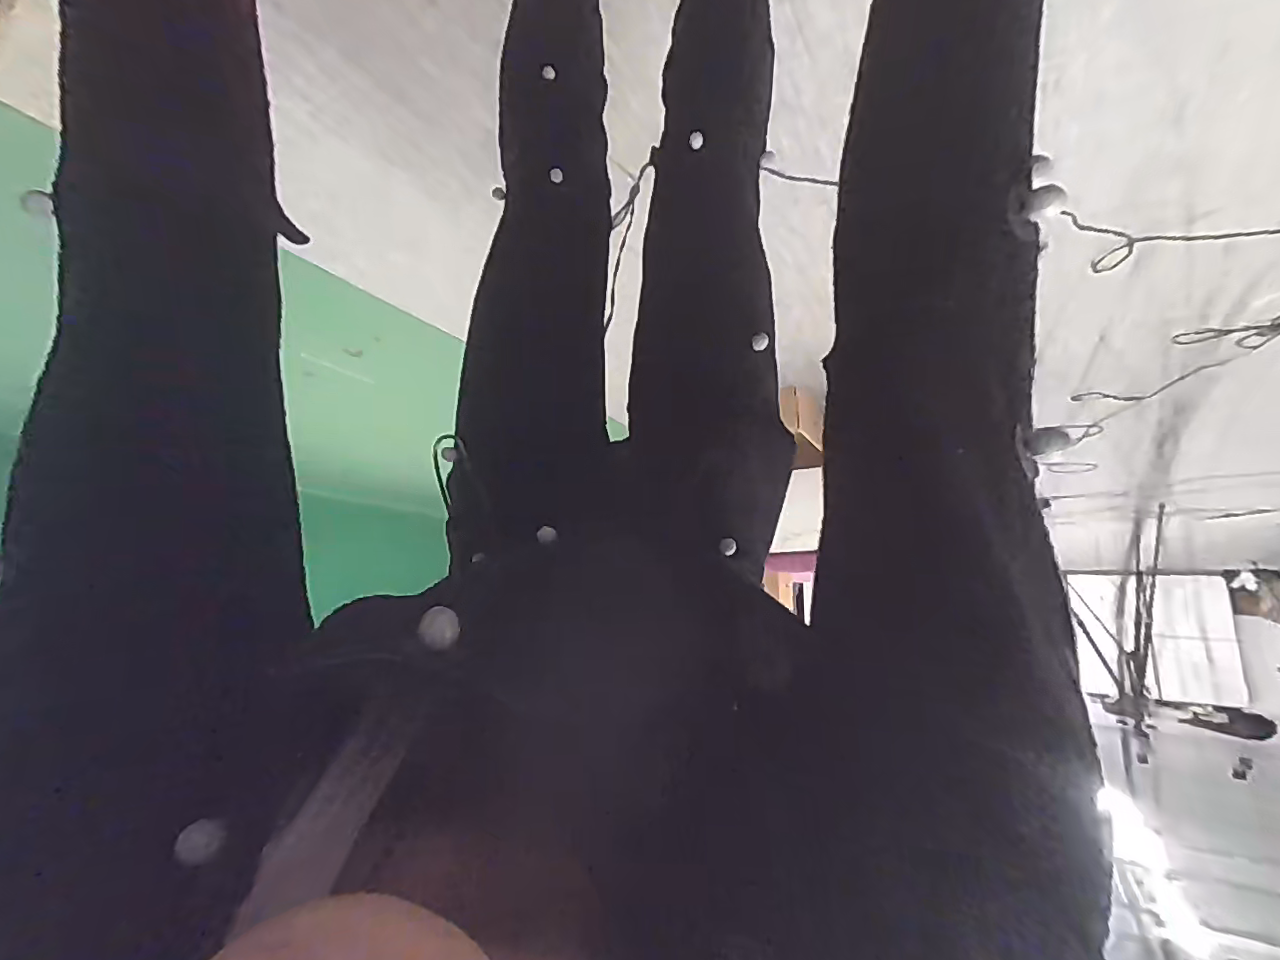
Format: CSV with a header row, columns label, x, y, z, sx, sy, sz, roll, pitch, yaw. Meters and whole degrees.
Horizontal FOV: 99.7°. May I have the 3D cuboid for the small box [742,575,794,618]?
label,x,y,z,sx,sy,sz,roll,pitch,yaw
small box,0.543,0.493,2.286,0.179,0.176,0.168,-7,165,34
